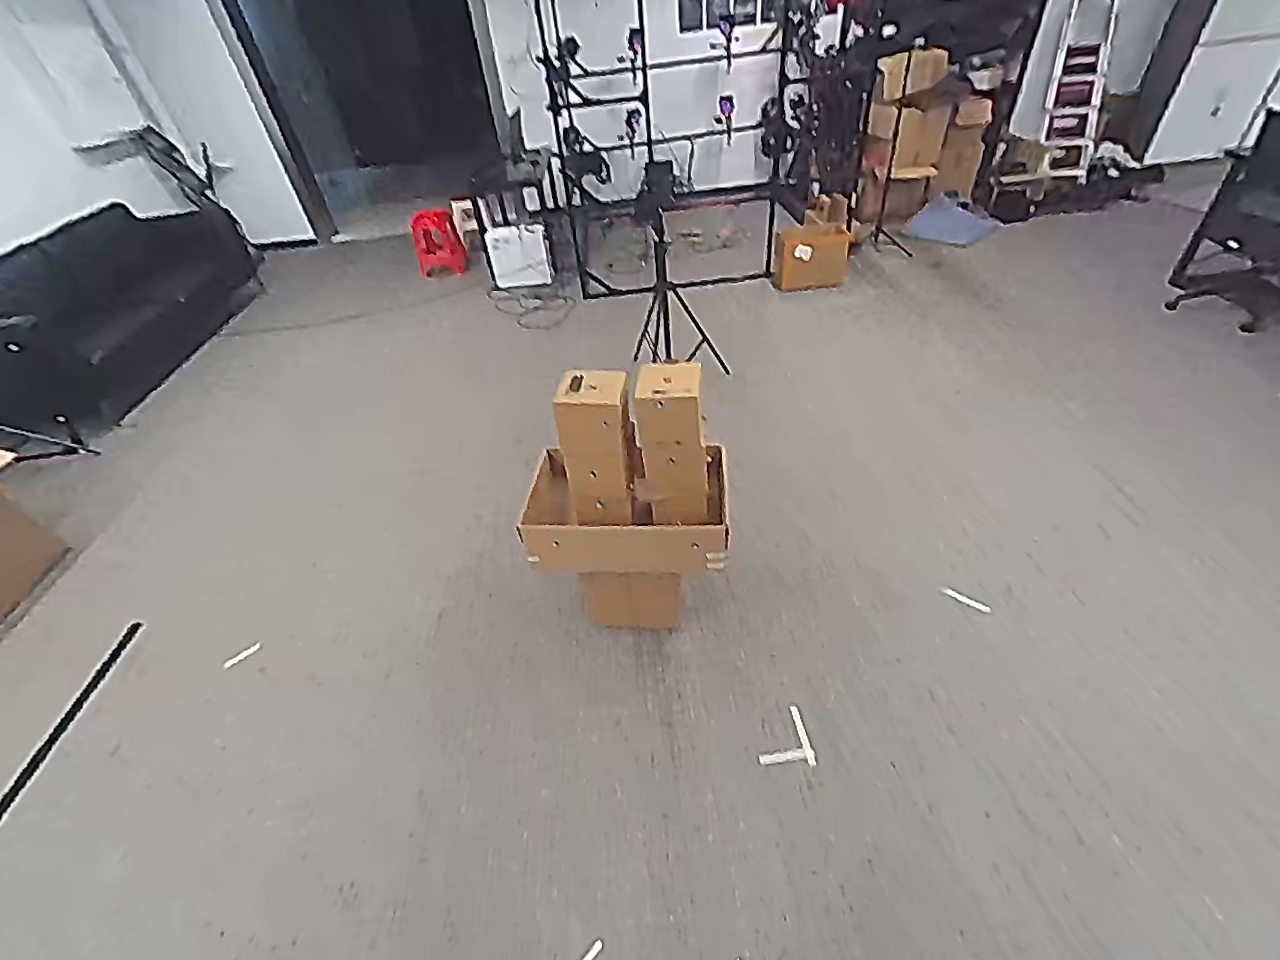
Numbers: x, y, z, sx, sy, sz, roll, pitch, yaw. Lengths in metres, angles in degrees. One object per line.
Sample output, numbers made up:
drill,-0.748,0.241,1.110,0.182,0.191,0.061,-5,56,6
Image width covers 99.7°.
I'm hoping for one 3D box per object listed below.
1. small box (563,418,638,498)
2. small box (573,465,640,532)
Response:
small box,-0.108,-0.063,1.592,0.179,0.176,0.168,4,42,12
small box,-0.098,0.051,1.708,0.179,0.176,0.168,1,41,9
